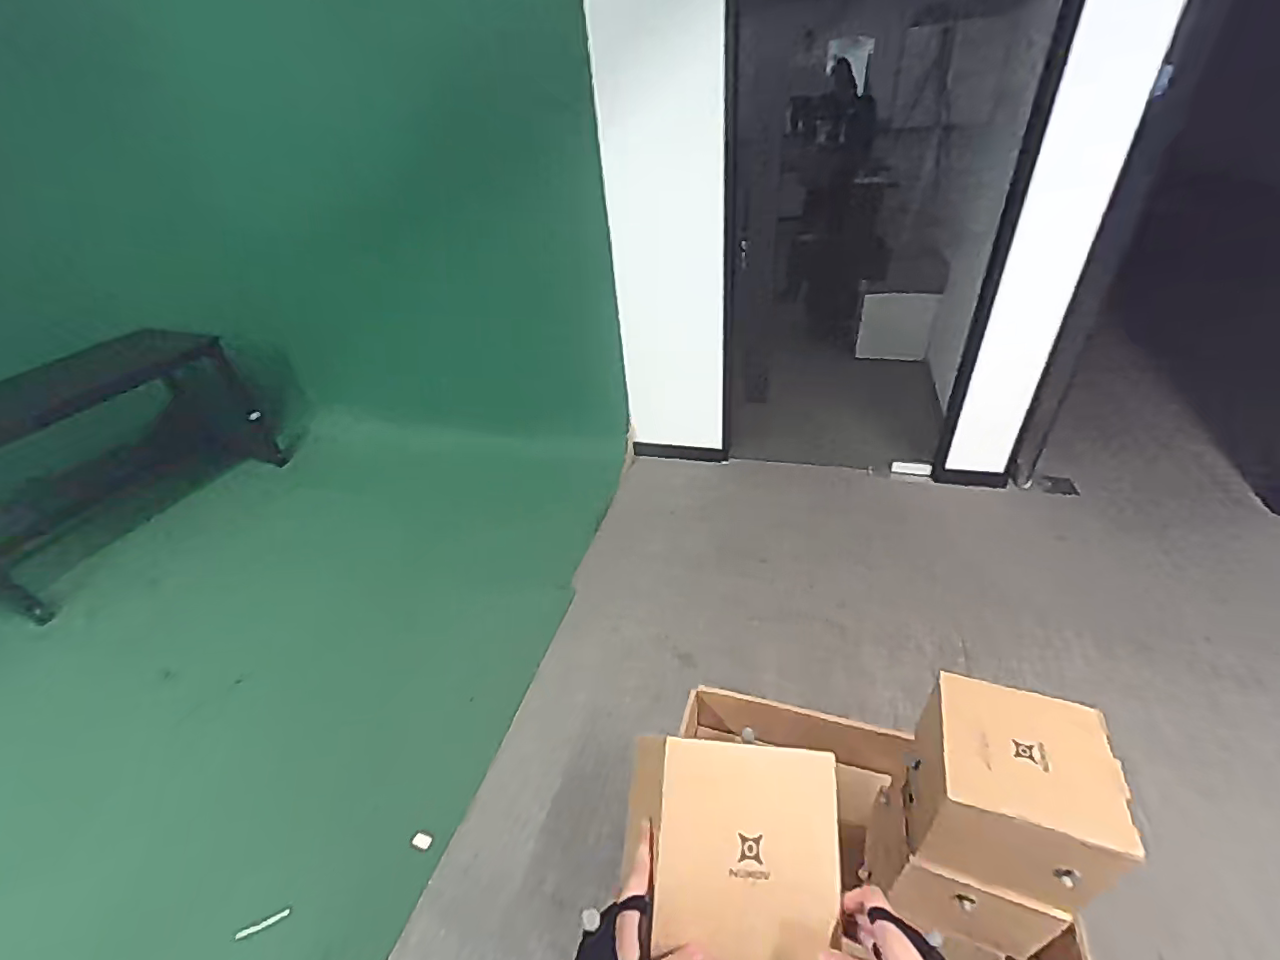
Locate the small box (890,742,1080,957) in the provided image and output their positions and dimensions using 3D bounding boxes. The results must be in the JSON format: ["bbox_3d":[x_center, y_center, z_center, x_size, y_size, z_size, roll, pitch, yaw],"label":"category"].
[{"bbox_3d":[0.448,0.498,0.735,0.179,0.176,0.168,10,39,21],"label":"small box"}]

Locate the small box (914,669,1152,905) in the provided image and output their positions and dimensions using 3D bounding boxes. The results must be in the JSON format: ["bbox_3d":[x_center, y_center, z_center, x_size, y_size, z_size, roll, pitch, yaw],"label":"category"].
[{"bbox_3d":[0.441,0.363,0.644,0.179,0.176,0.168,9,38,21],"label":"small box"}]

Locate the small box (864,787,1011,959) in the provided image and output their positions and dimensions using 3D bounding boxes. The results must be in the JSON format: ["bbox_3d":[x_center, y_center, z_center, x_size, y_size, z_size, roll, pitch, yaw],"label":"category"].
[{"bbox_3d":[0.451,0.627,0.837,0.168,0.176,0.179,11,39,22],"label":"small box"}]
